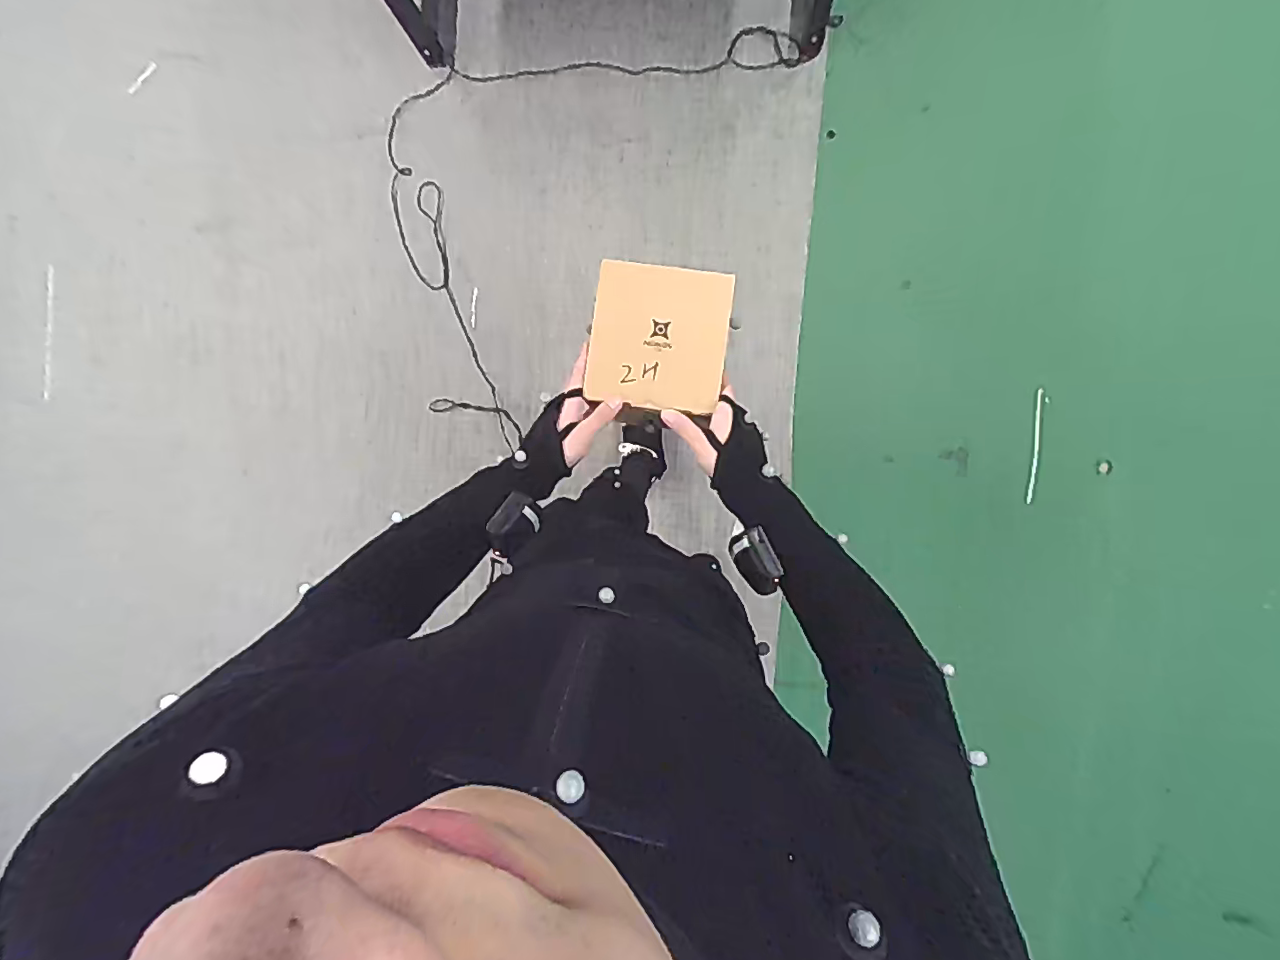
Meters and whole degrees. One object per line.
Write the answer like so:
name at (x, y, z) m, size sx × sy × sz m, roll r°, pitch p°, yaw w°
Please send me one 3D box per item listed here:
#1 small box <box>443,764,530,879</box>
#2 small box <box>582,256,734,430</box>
small box at (-0.387, 0.867, 1.387) m, size 0.168 × 0.176 × 0.179 m, roll 4°, pitch 92°, yaw 6°
small box at (0.024, -0.173, 0.731) m, size 0.168 × 0.176 × 0.179 m, roll 8°, pitch 89°, yaw 3°
